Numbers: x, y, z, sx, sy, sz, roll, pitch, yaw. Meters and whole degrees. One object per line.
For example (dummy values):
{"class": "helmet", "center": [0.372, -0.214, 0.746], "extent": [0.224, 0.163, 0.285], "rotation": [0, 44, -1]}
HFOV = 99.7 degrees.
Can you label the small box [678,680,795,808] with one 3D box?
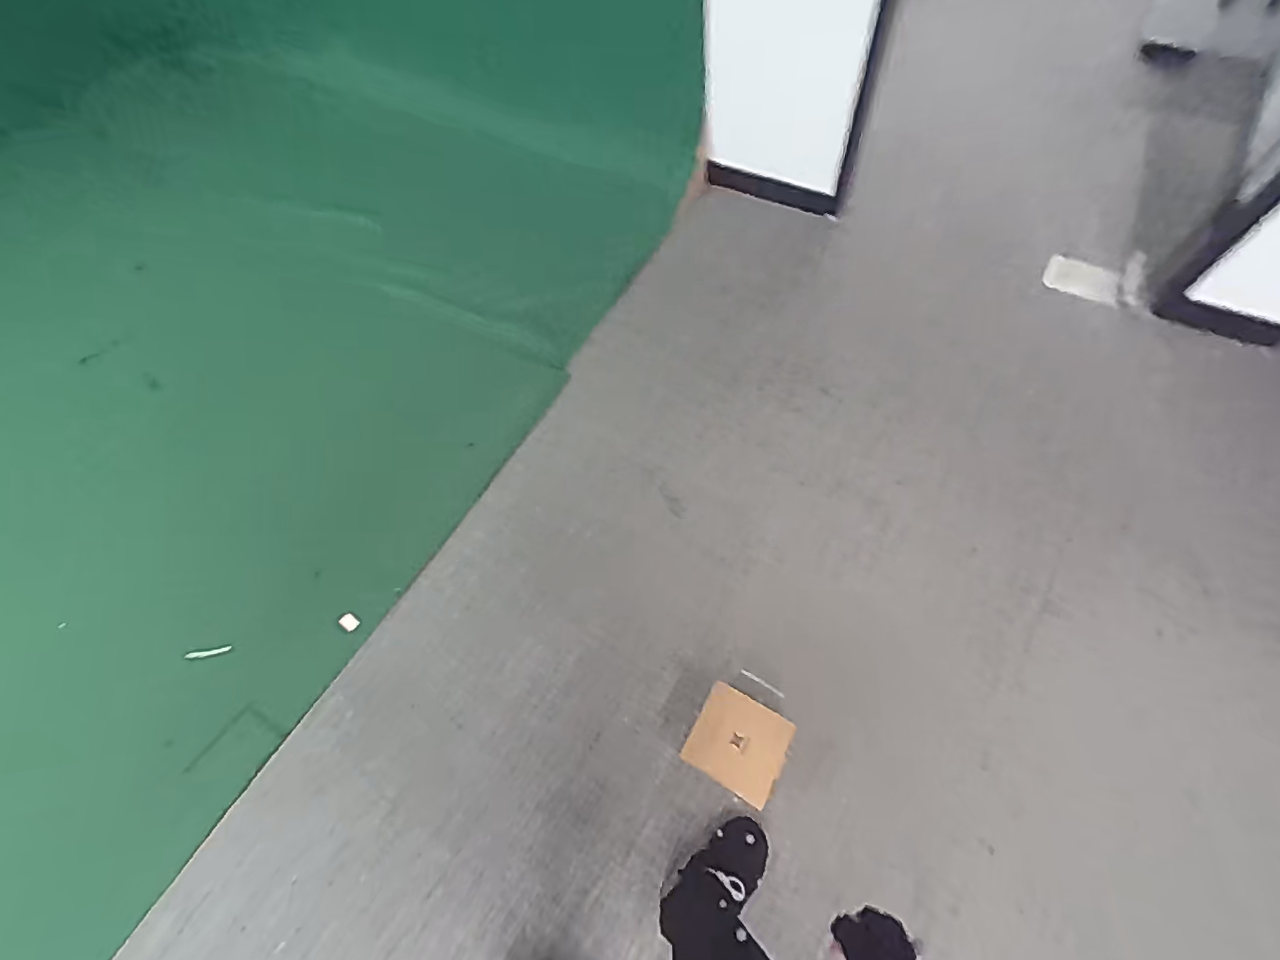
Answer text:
{"class": "small box", "center": [0.196, 0.536, 1.110], "extent": [0.179, 0.176, 0.168], "rotation": [25, 69, 19]}
